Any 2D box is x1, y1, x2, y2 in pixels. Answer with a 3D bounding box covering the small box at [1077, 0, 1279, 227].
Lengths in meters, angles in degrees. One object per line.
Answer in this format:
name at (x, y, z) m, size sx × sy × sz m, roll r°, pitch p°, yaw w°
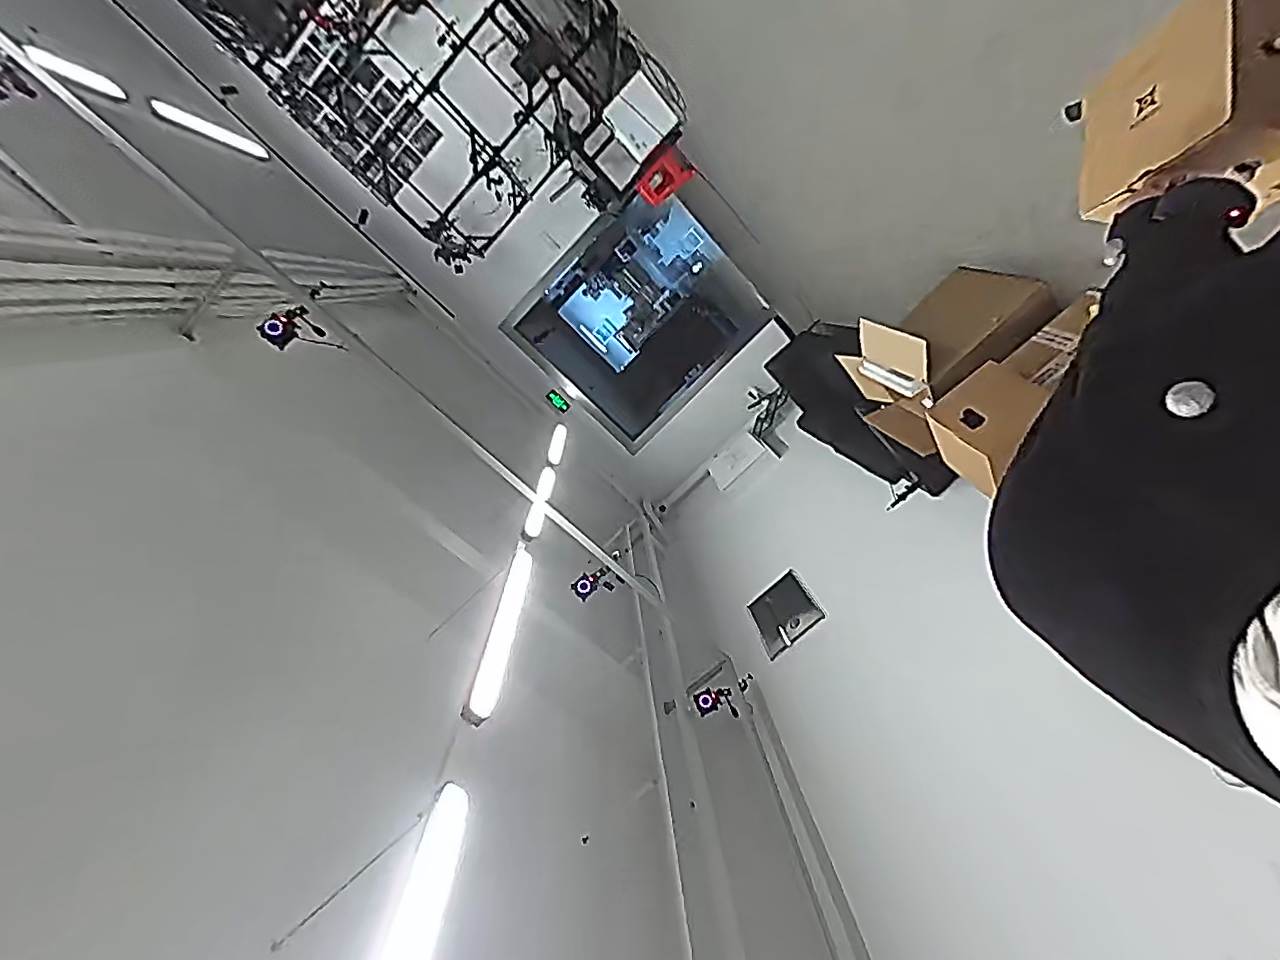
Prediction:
small box at (0.645, -0.409, 0.609) m, size 0.176 × 0.179 × 0.168 m, roll 7°, pitch 176°, yaw -5°
